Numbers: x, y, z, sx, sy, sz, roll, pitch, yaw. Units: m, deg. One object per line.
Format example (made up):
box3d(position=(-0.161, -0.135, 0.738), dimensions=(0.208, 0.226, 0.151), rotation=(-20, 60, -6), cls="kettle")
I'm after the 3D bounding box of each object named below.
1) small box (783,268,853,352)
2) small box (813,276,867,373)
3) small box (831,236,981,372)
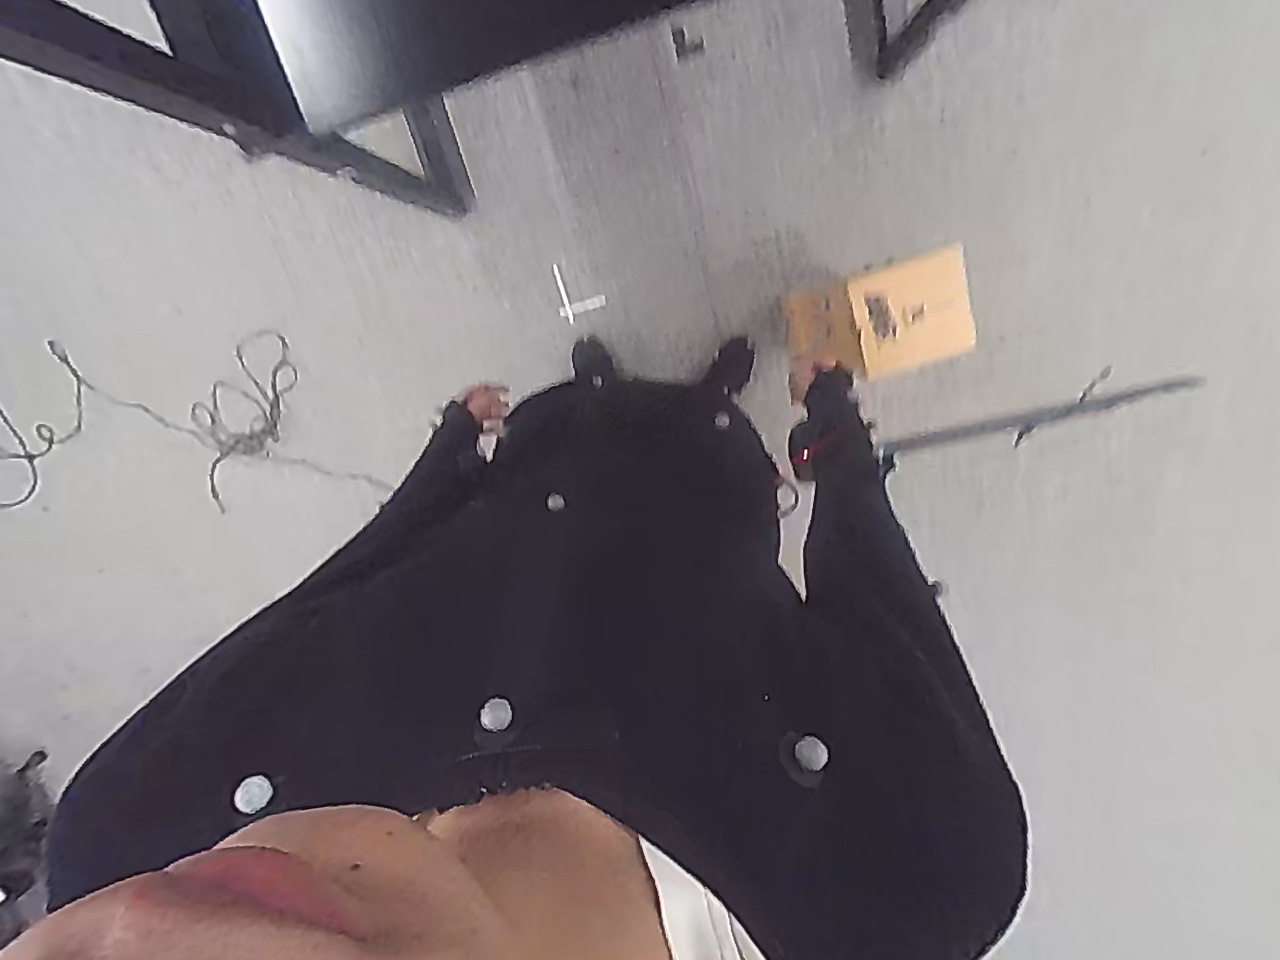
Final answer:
box3d(position=(0.483, -0.439, 1.388), dimensions=(0.179, 0.176, 0.168), rotation=(-15, 106, 10), cls="small box")
box3d(position=(0.461, -0.331, 1.081), dimensions=(0.168, 0.176, 0.179), rotation=(-16, 106, 10), cls="small box")
box3d(position=(0.439, -0.294, 0.921), dimensions=(0.179, 0.176, 0.168), rotation=(-17, 106, 10), cls="small box")
